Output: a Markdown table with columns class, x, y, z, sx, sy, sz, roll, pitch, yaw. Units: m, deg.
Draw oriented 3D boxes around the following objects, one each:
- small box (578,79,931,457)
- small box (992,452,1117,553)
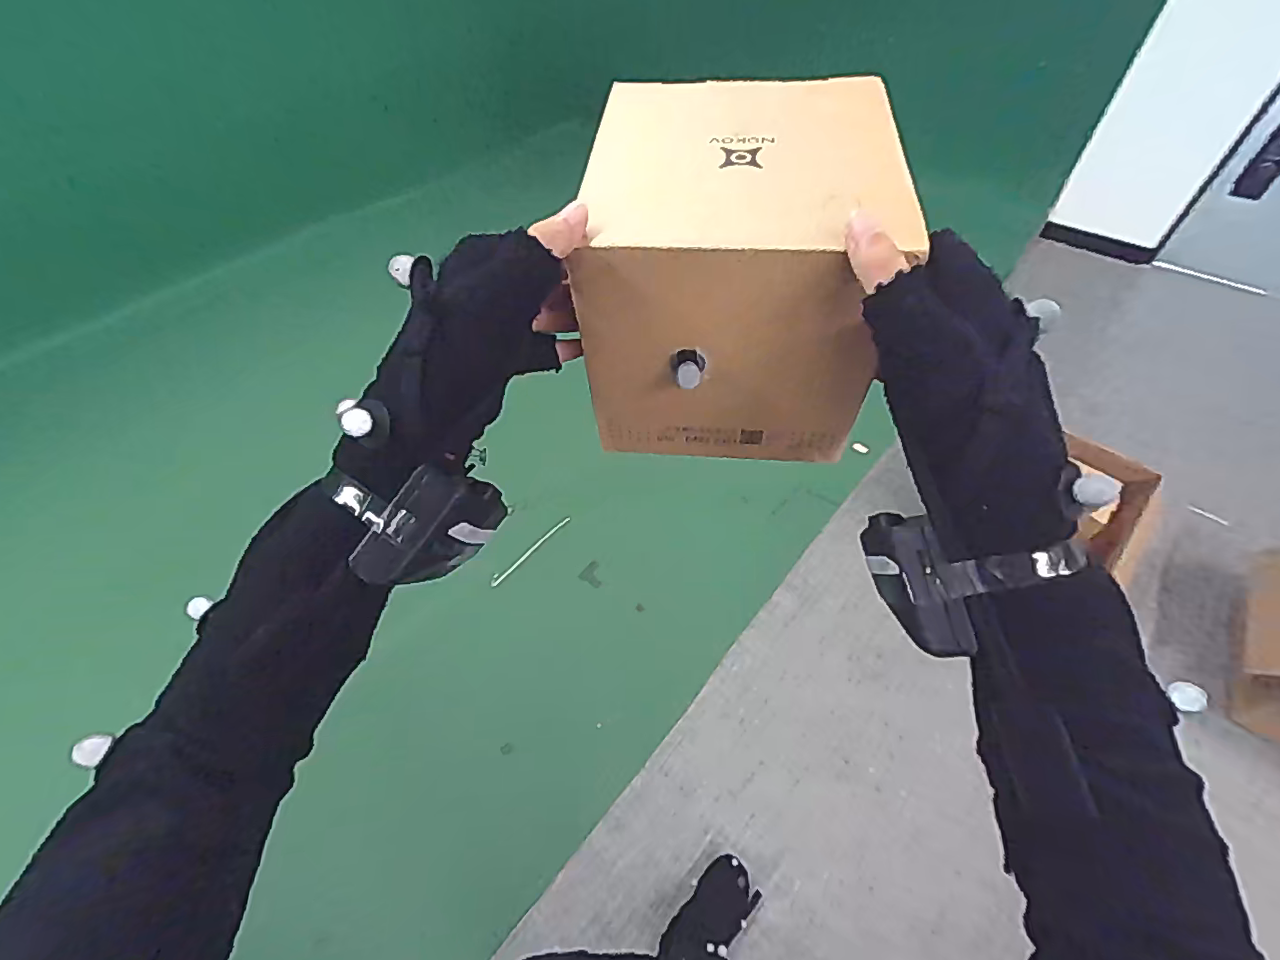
| class | x | y | z | sx | sy | sz | roll | pitch | yaw |
| --- | --- | --- | --- | --- | --- | --- | --- | --- | --- |
| small box | 0.065 | -0.131 | 0.360 | 0.168 | 0.176 | 0.179 | 3 | 56 | 6 |
| small box | 1.074 | 0.067 | 1.411 | 0.179 | 0.176 | 0.168 | 37 | 59 | 22 |
